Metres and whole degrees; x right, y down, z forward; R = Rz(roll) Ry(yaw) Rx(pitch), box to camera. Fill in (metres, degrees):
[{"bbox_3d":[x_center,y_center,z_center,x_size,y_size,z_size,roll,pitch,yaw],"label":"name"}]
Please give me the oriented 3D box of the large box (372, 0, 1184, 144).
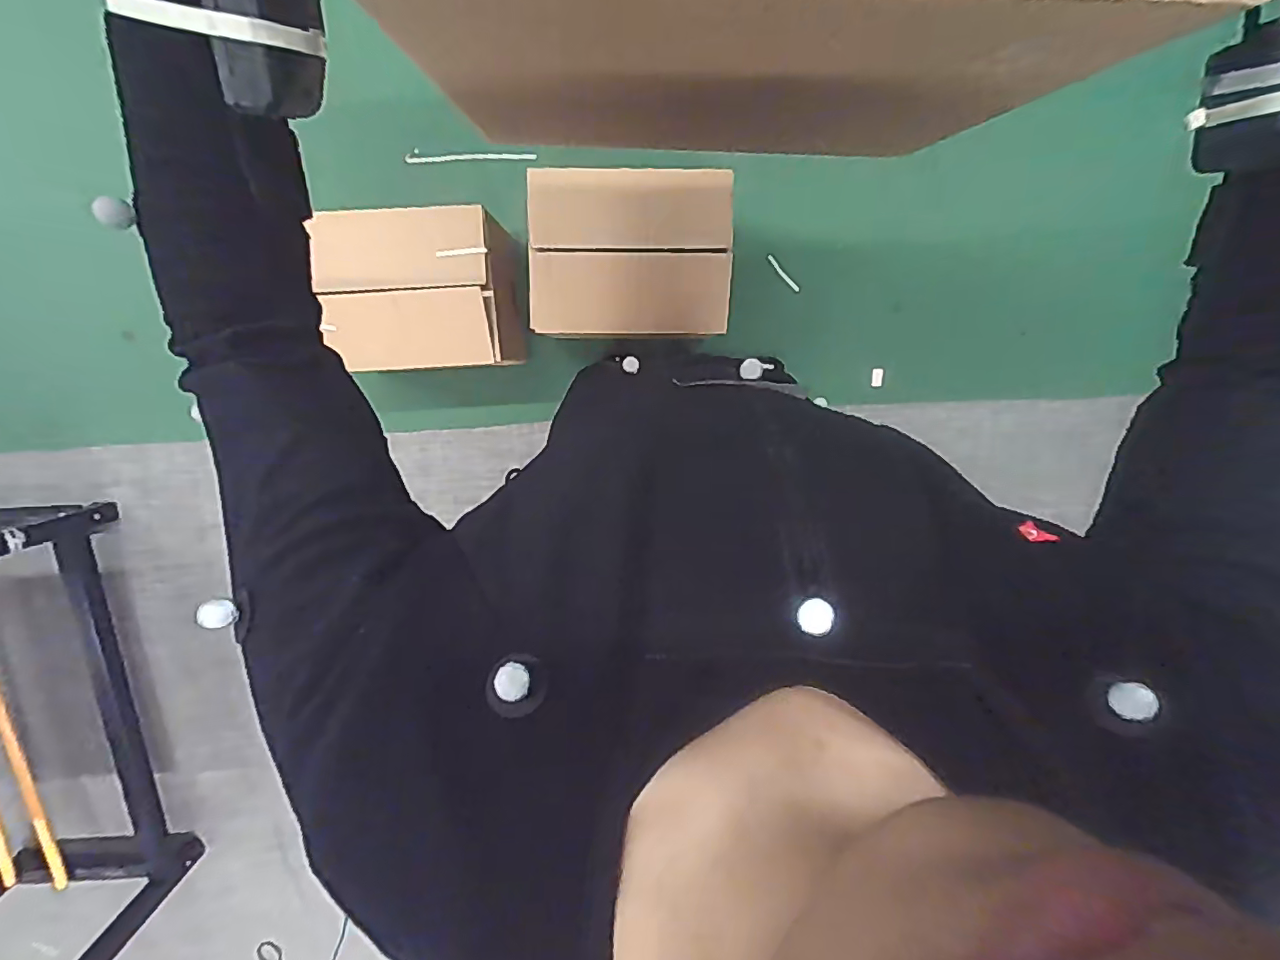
[{"bbox_3d":[0.058,-0.408,0.315,0.408,0.320,0.320,-1,111,-4],"label":"large box"}]
